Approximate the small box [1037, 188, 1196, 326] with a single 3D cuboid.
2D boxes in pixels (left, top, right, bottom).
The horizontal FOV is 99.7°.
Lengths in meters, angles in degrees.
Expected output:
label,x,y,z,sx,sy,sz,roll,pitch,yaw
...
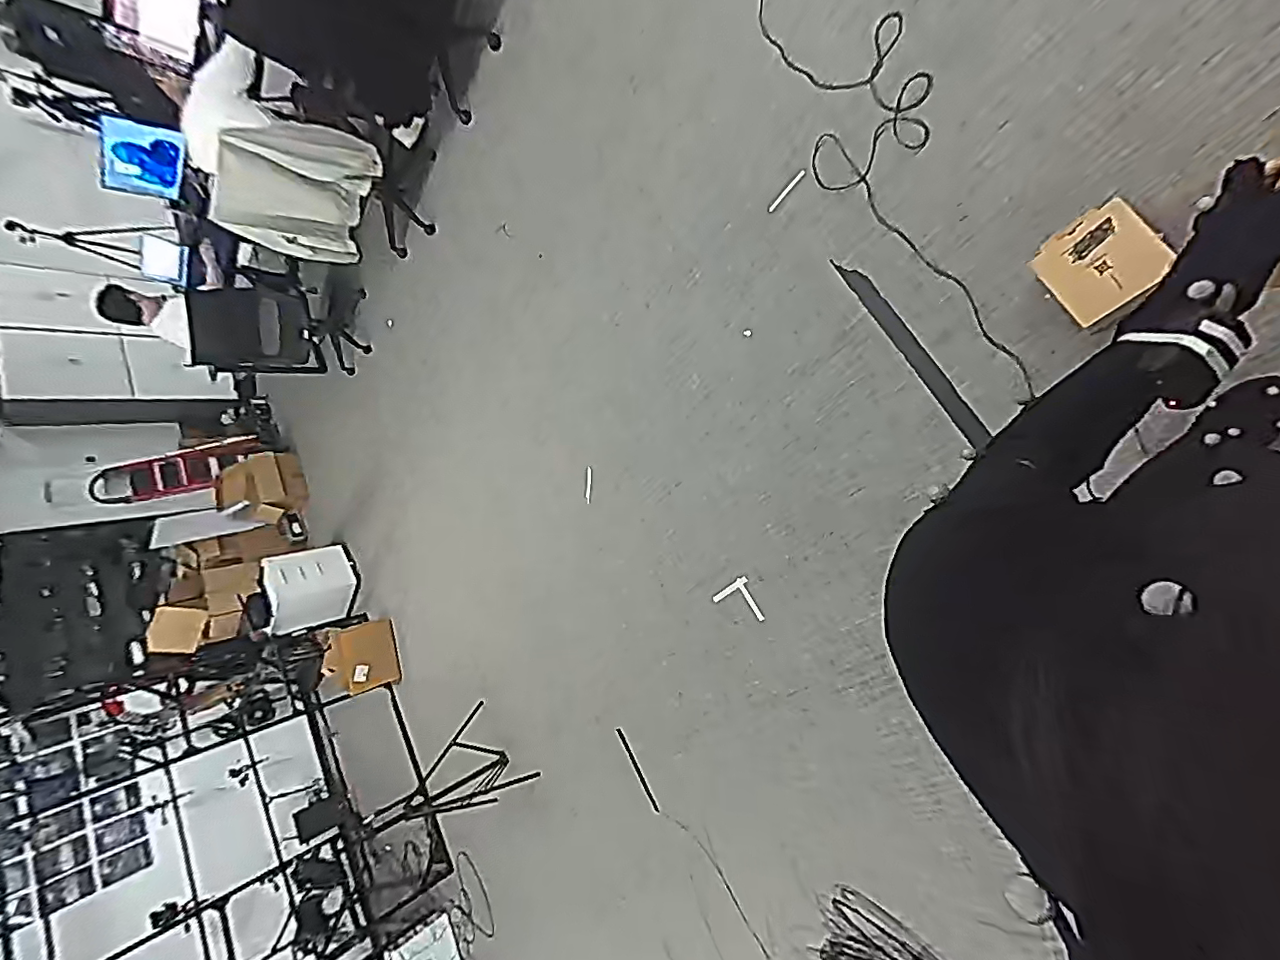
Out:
label,x,y,z,sx,sy,sz,roll,pitch,yaw
small box,0.926,-0.424,1.059,0.168,0.176,0.179,-41,68,40
